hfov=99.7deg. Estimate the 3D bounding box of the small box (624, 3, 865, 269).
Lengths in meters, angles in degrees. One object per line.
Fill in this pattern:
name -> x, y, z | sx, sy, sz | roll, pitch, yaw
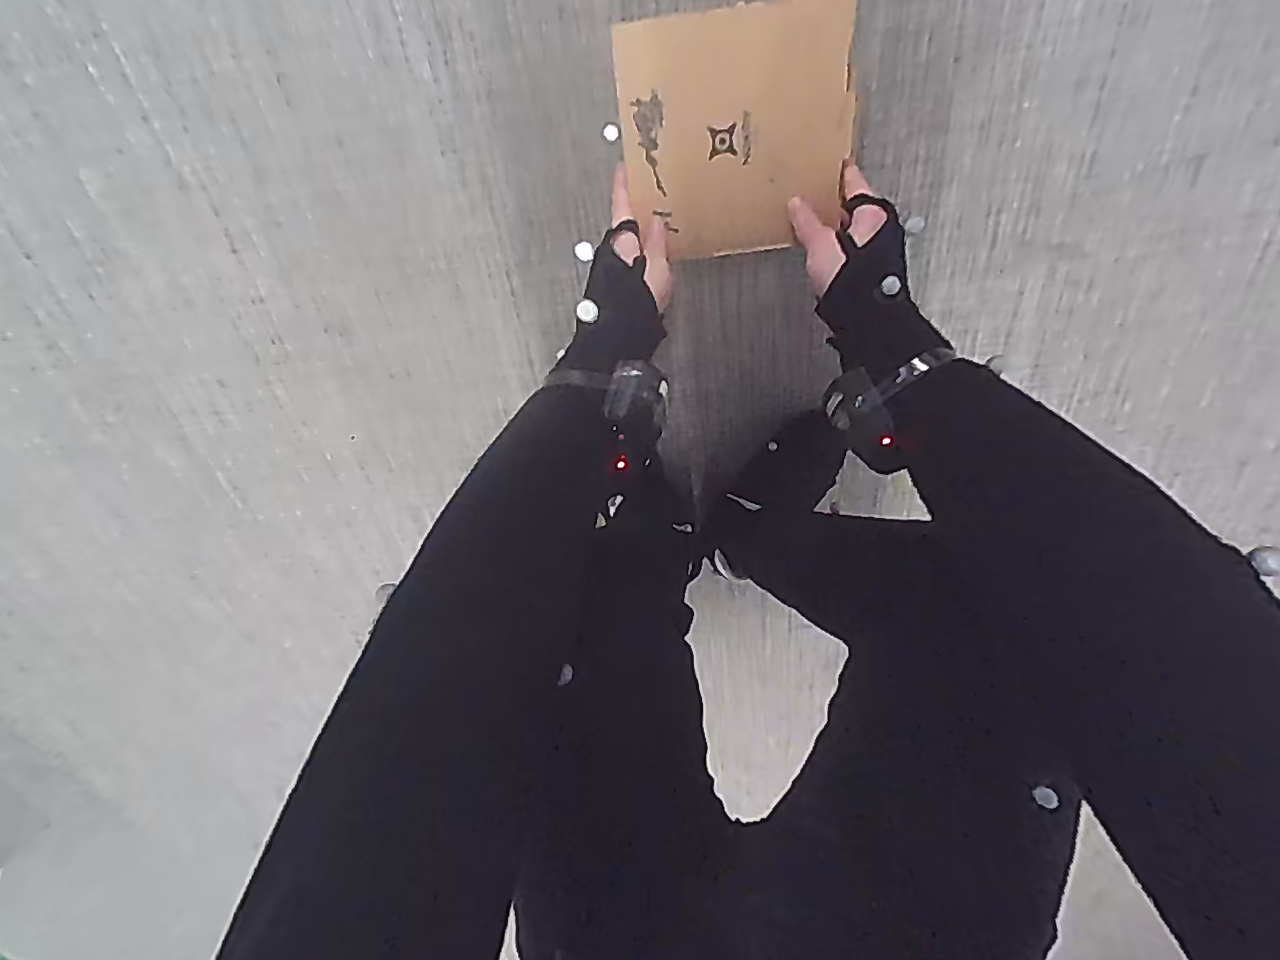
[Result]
small box -> 0.081, -0.301, 0.493 | 0.179, 0.176, 0.168 | -5, 120, 4
